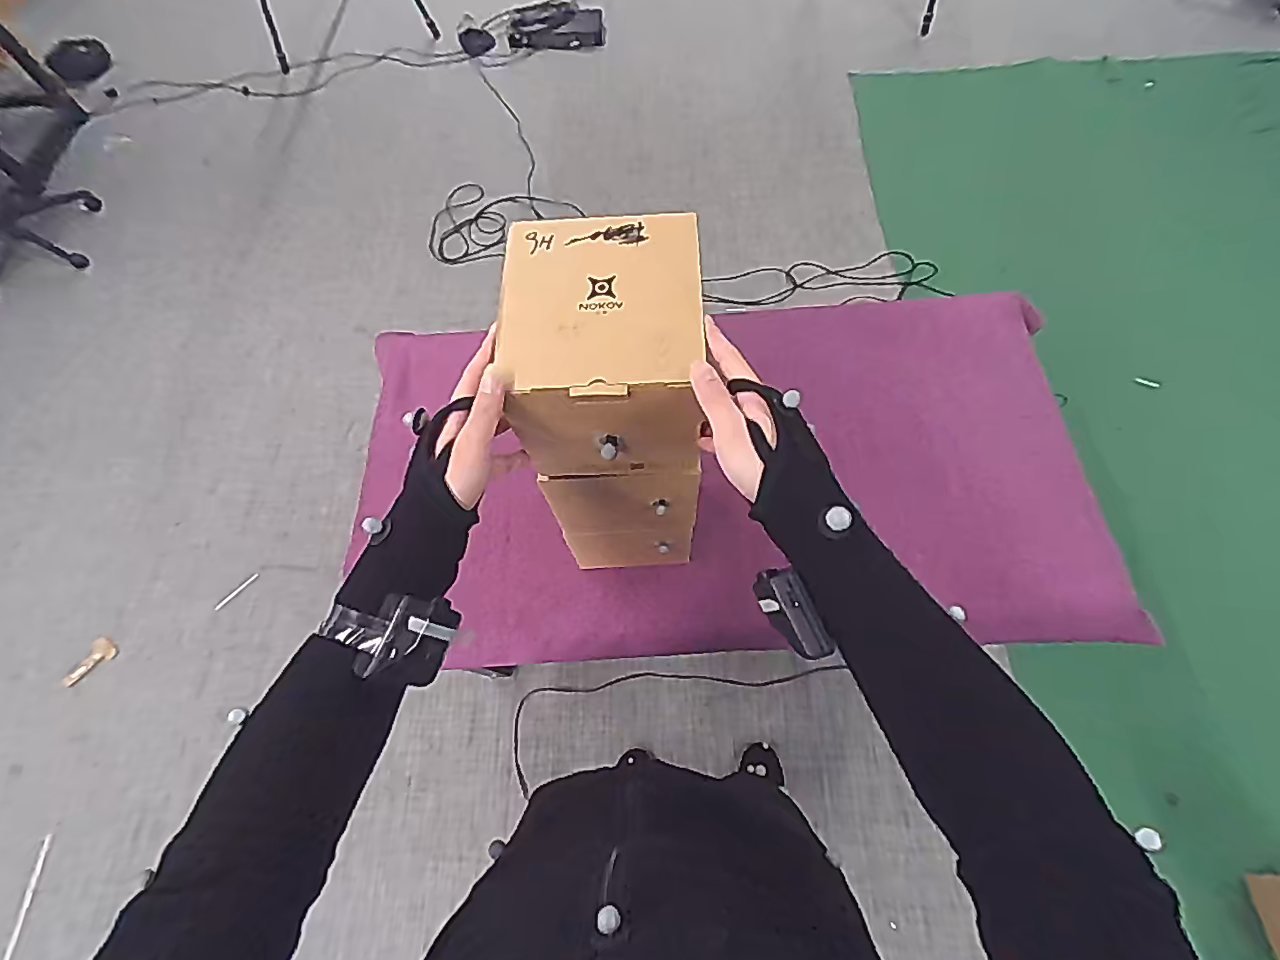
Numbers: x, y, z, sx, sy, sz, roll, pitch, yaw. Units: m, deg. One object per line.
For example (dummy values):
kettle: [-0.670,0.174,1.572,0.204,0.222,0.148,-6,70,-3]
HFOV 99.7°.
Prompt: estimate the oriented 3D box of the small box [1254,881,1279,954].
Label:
small box: [1.444,0.944,1.099,0.168,0.176,0.179,-2,65,3]

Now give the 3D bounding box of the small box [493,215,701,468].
small box: [-0.027,-0.117,0.515,0.168,0.176,0.179,-1,68,3]

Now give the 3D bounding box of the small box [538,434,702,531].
small box: [-0.020,-0.041,0.676,0.179,0.176,0.168,-3,64,2]
